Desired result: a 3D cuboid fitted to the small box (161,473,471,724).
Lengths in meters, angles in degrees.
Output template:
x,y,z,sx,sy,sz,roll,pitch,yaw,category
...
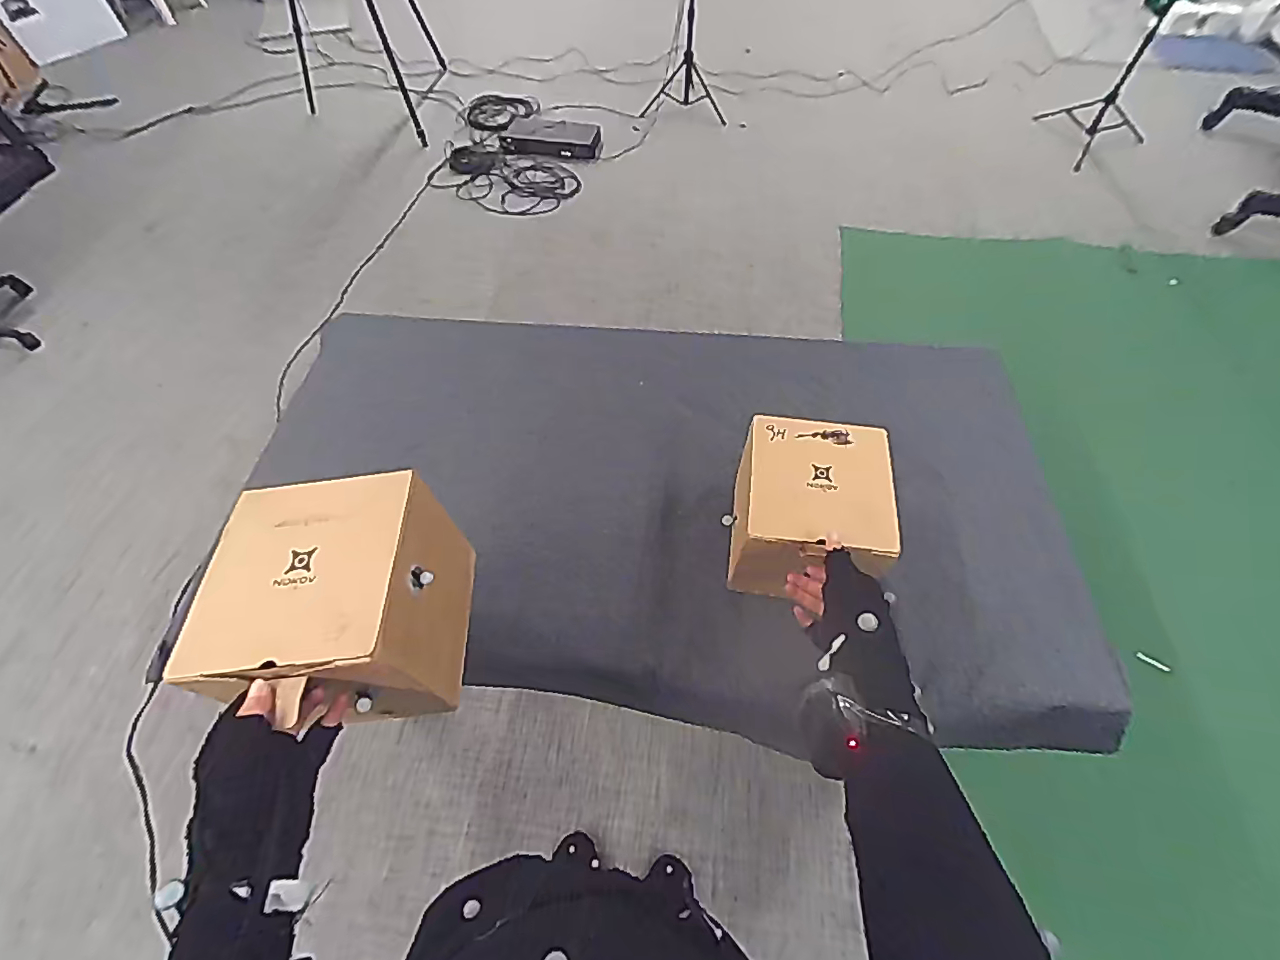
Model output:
x,y,z,sx,sy,sz,roll,pitch,yaw,category
-0.272,0.119,0.508,0.168,0.176,0.179,-7,53,2,small box
